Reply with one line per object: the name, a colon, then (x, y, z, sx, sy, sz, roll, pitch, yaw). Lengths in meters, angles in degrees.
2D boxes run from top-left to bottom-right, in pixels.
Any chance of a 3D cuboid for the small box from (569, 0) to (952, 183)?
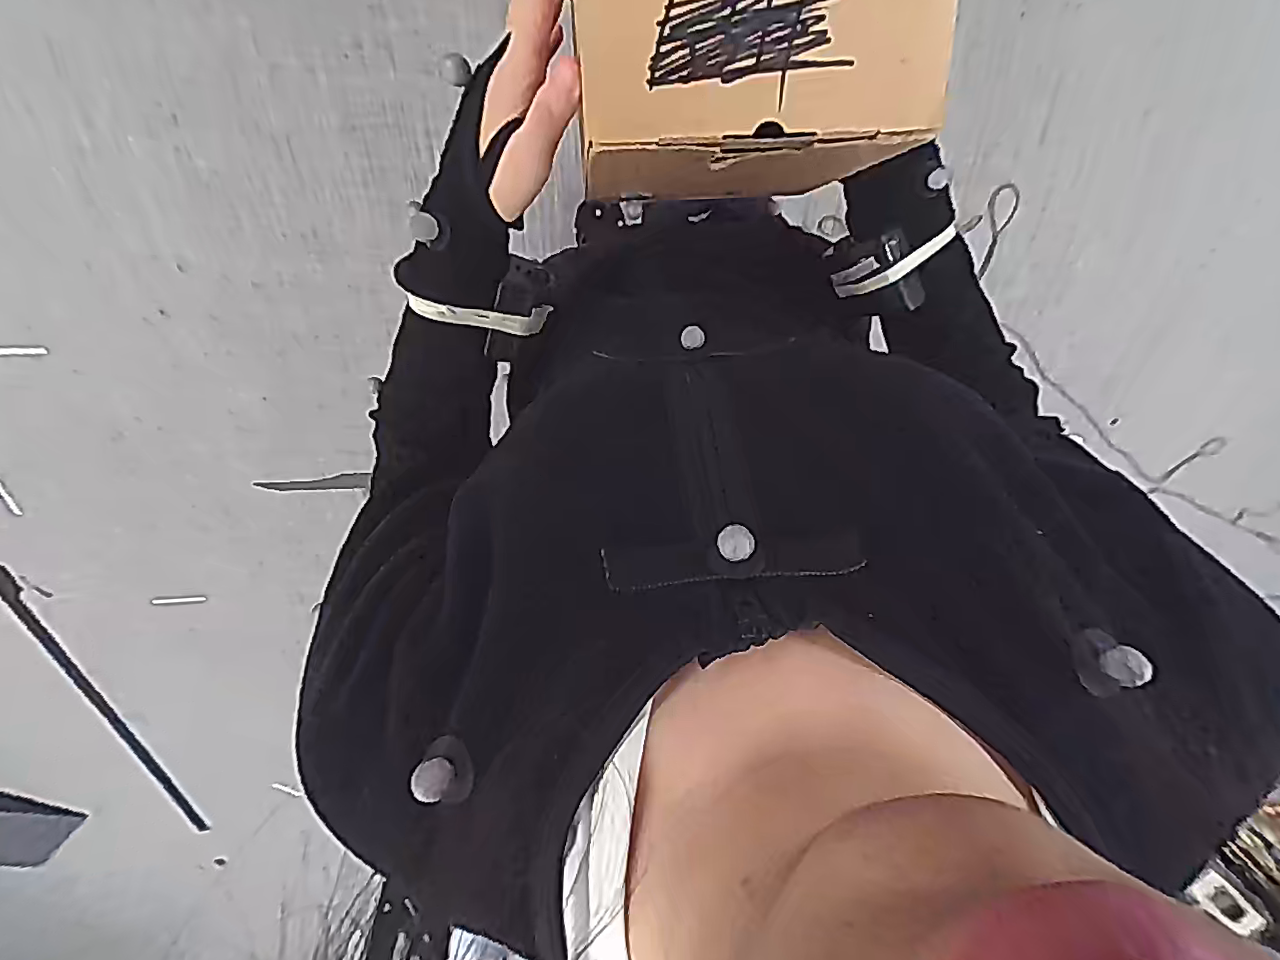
small box: (0.045, -0.269, 0.291, 0.168, 0.176, 0.179, -5, 109, -5)
